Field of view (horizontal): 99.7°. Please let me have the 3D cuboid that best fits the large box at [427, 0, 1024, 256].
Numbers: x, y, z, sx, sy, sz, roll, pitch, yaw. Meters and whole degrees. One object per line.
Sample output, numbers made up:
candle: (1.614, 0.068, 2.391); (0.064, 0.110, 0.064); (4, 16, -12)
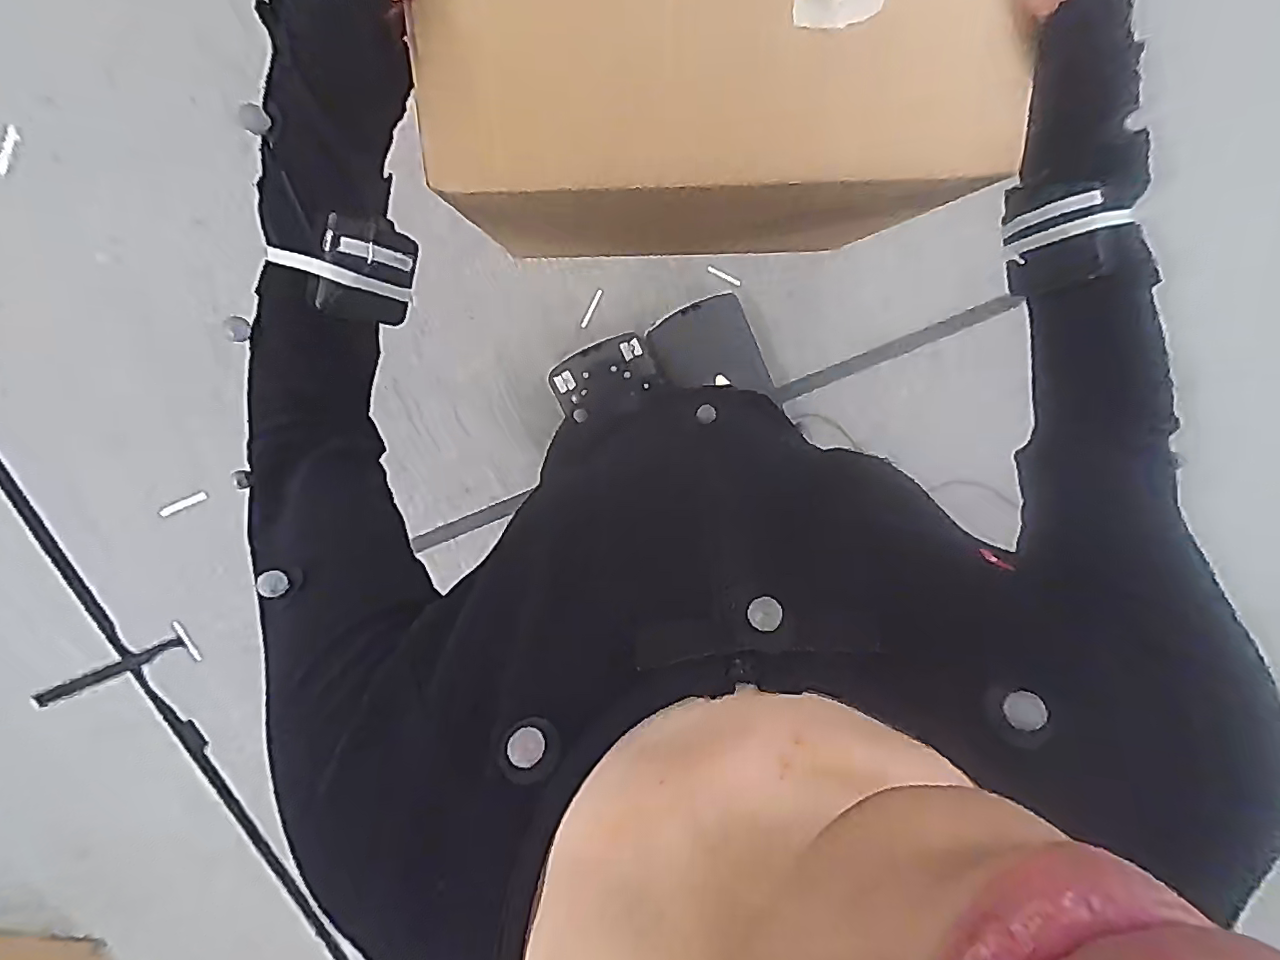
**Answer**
large box: (0.048, -0.397, 0.486); (0.408, 0.320, 0.320); (-3, 105, -3)
